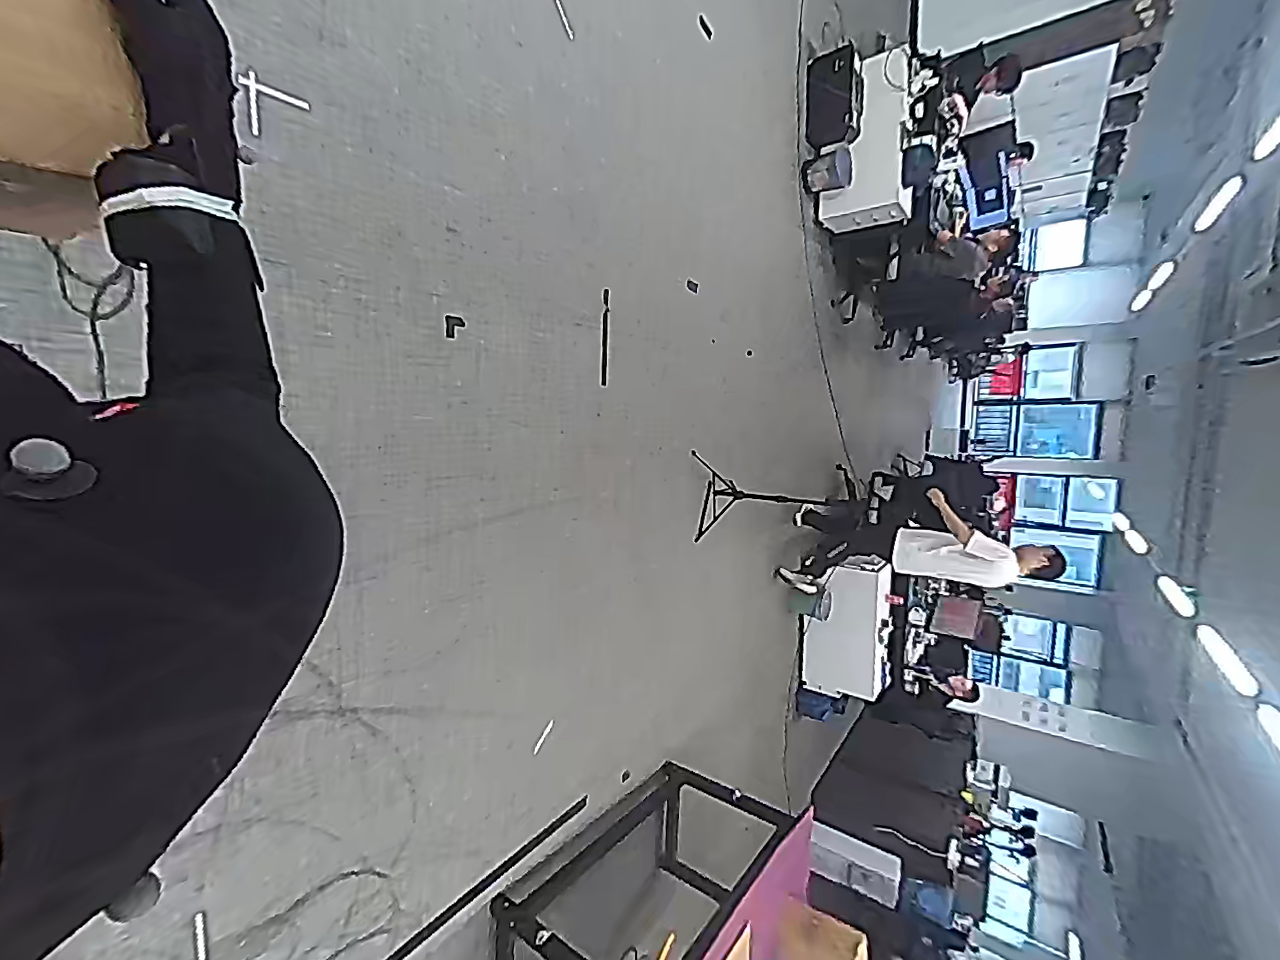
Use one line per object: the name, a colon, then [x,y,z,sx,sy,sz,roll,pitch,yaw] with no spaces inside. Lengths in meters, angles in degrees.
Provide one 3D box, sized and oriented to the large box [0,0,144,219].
large box: [-0.605,-0.369,0.301,0.408,0.320,0.320,-14,111,-53]
